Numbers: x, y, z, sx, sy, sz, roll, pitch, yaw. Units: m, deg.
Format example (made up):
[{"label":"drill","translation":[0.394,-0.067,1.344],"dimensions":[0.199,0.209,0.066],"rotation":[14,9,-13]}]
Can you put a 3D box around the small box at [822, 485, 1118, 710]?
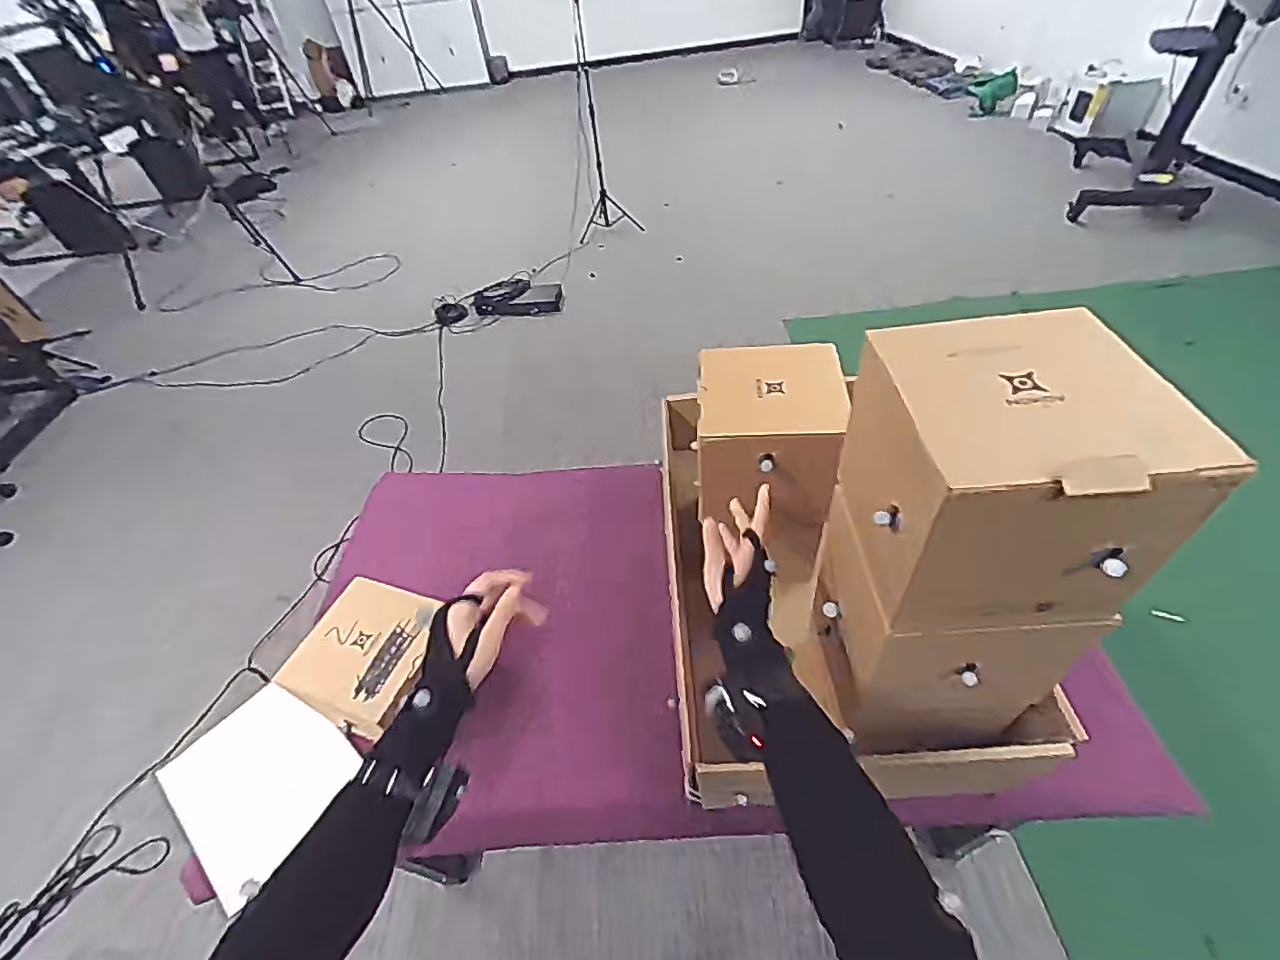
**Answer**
[{"label":"small box","translation":[0.291,0.112,0.531],"dimensions":[0.179,0.176,0.168],"rotation":[-5,46,6]}]

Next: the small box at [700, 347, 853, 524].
[{"label":"small box","translation":[0.169,-0.054,0.712],"dimensions":[0.179,0.176,0.168],"rotation":[-2,49,8]}]

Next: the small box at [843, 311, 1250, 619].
[{"label":"small box","translation":[0.269,-0.005,0.419],"dimensions":[0.168,0.176,0.179],"rotation":[-4,45,6]}]
